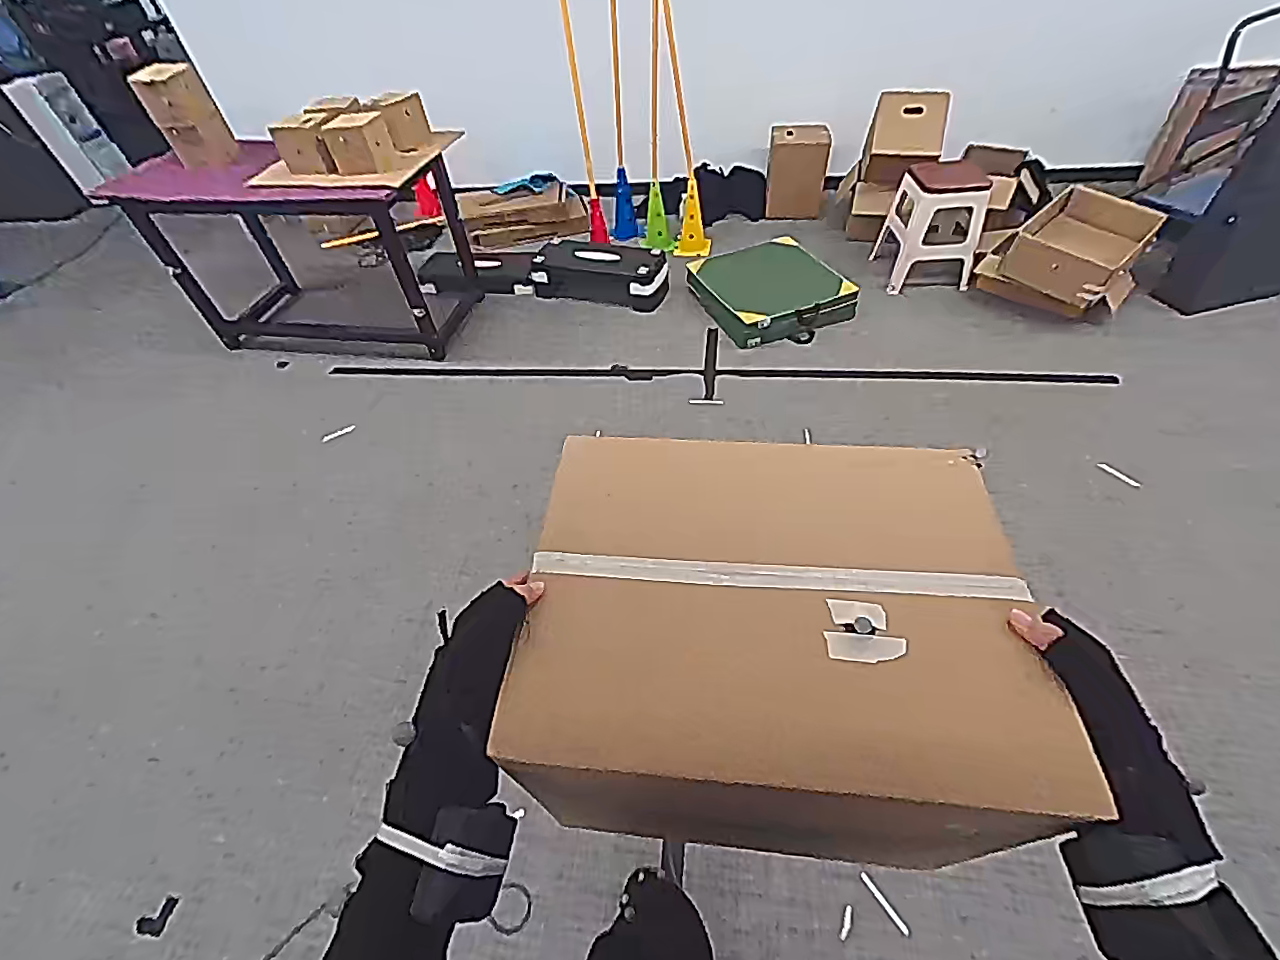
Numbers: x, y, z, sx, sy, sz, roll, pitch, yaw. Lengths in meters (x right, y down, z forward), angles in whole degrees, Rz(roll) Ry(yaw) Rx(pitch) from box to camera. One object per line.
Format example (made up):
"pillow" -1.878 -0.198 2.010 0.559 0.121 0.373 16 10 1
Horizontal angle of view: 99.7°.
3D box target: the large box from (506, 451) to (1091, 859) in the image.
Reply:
"large box" 0.116 0.187 0.575 0.408 0.320 0.320 2 51 6
